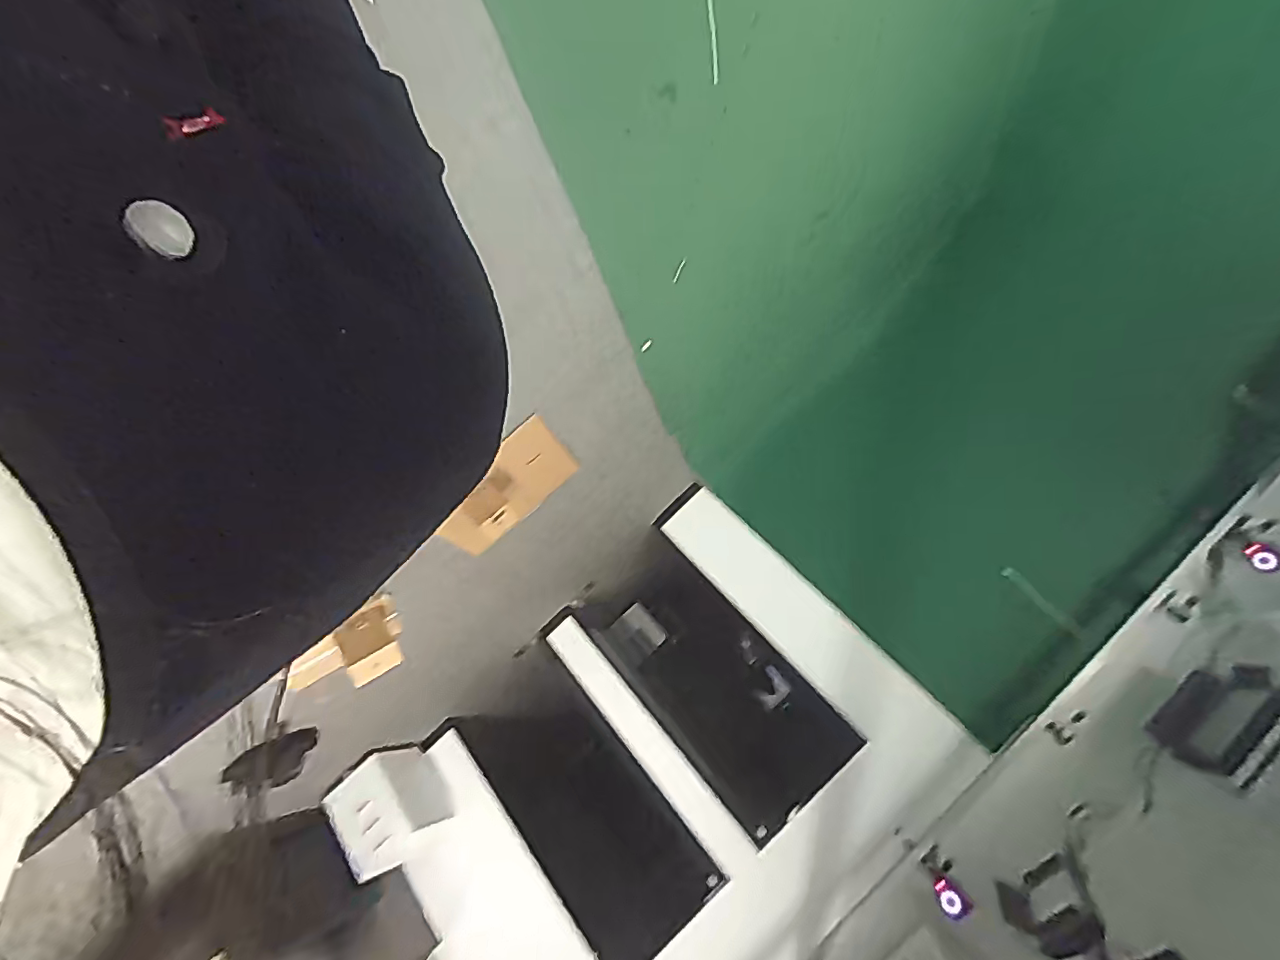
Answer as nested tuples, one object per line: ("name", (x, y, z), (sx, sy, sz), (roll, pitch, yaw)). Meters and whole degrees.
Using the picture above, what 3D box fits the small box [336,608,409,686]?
("small box", (-0.954, 0.593, 1.931), (0.168, 0.176, 0.179), (-30, 149, -33))

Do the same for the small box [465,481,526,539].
("small box", (-0.643, 0.127, 2.400), (0.168, 0.176, 0.179), (-41, 157, -11))
